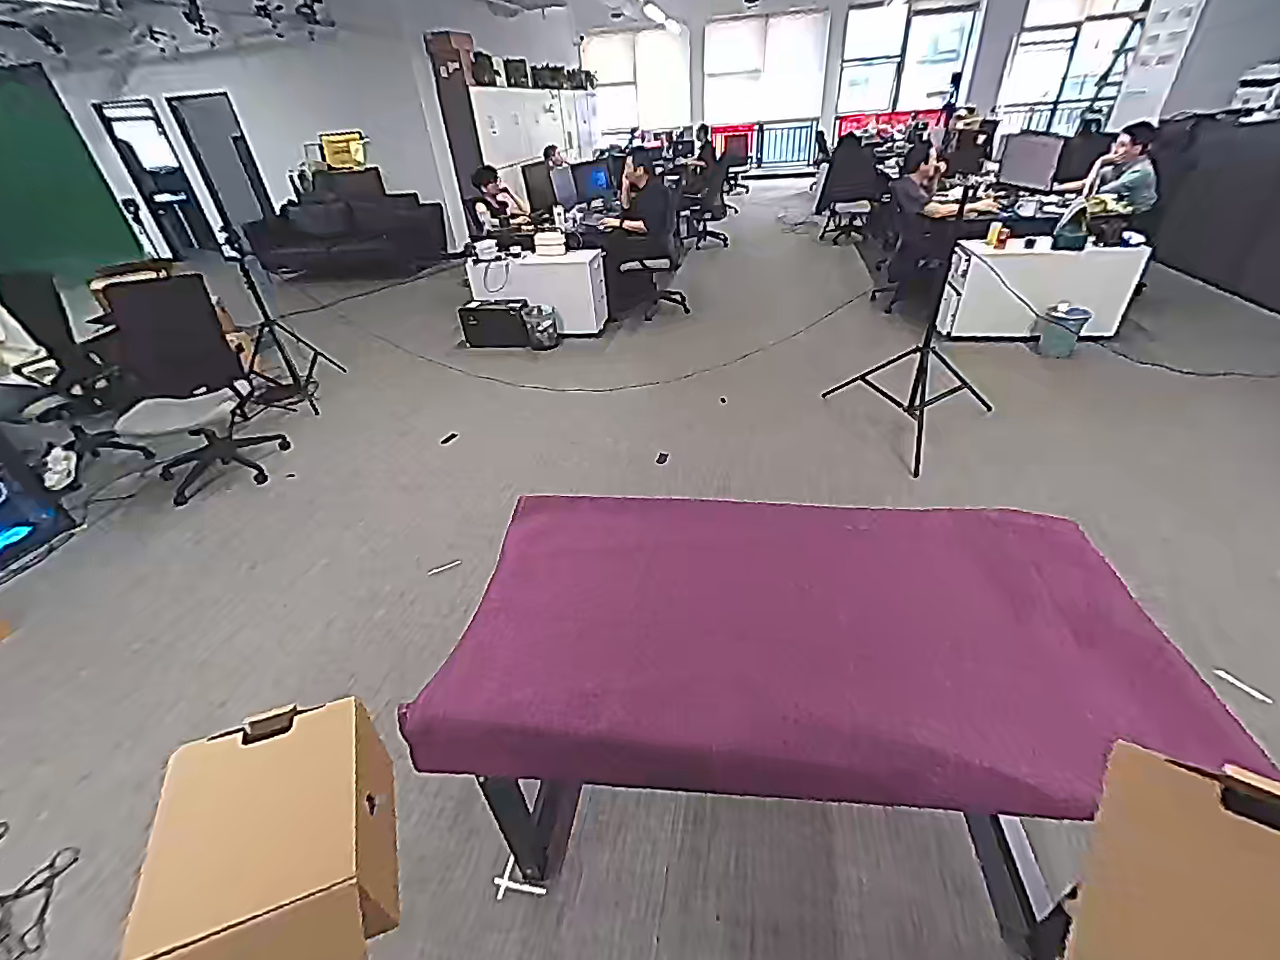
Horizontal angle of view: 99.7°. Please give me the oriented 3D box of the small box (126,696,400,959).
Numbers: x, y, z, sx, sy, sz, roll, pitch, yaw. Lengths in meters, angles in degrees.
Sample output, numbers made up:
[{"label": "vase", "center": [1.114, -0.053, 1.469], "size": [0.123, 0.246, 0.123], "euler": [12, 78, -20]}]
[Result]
[{"label": "small box", "center": [-0.344, 0.356, 0.538], "size": [0.168, 0.176, 0.179], "euler": [-11, 41, -19]}]
